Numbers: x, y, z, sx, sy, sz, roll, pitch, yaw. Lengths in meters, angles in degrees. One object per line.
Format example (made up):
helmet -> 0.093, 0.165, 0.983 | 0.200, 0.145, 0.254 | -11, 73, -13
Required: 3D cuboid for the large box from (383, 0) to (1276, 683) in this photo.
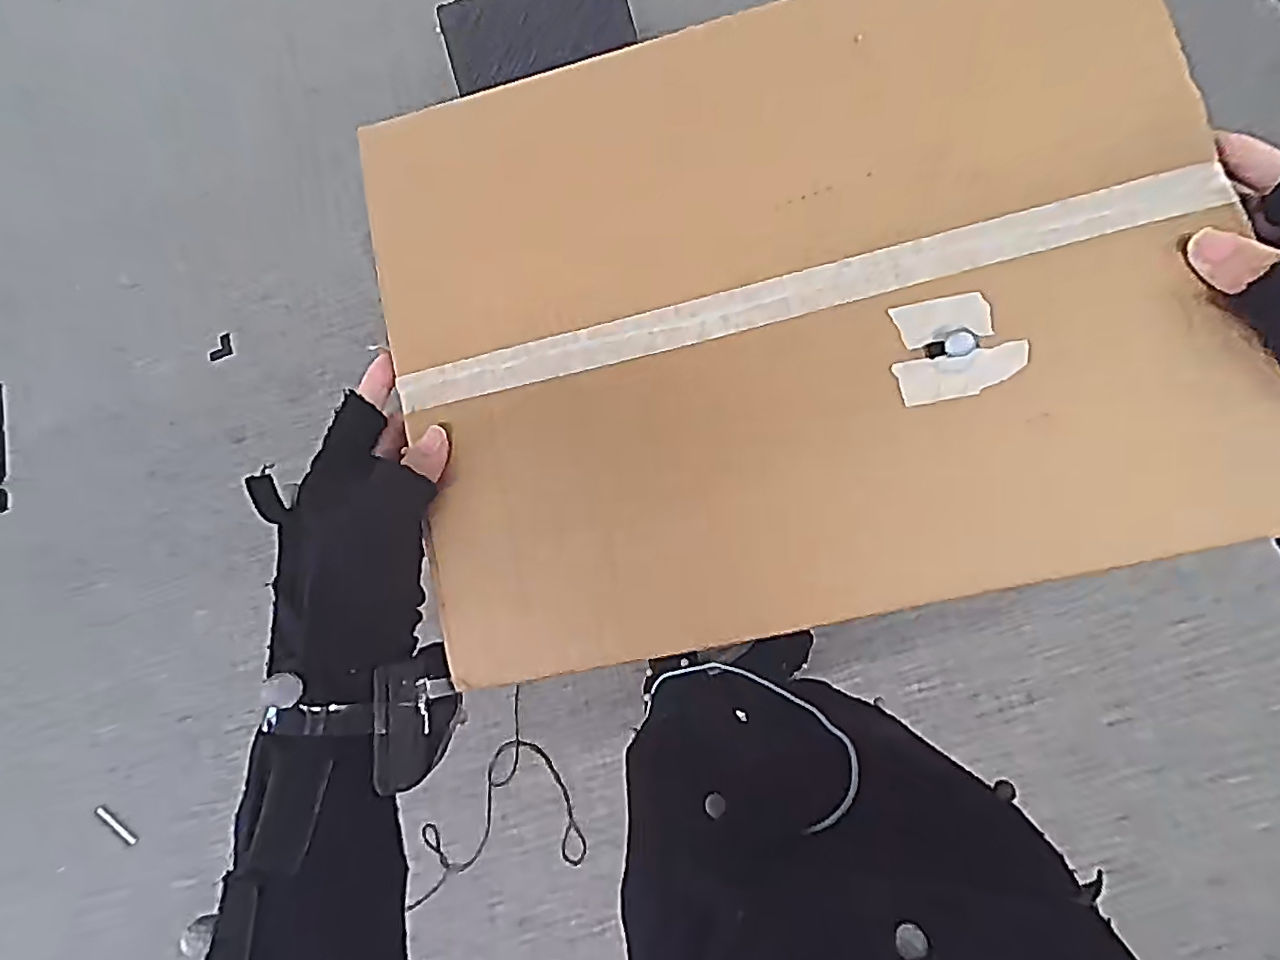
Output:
large box -> 0.086, -0.071, 0.431 | 0.408, 0.320, 0.320 | -13, 84, 5
